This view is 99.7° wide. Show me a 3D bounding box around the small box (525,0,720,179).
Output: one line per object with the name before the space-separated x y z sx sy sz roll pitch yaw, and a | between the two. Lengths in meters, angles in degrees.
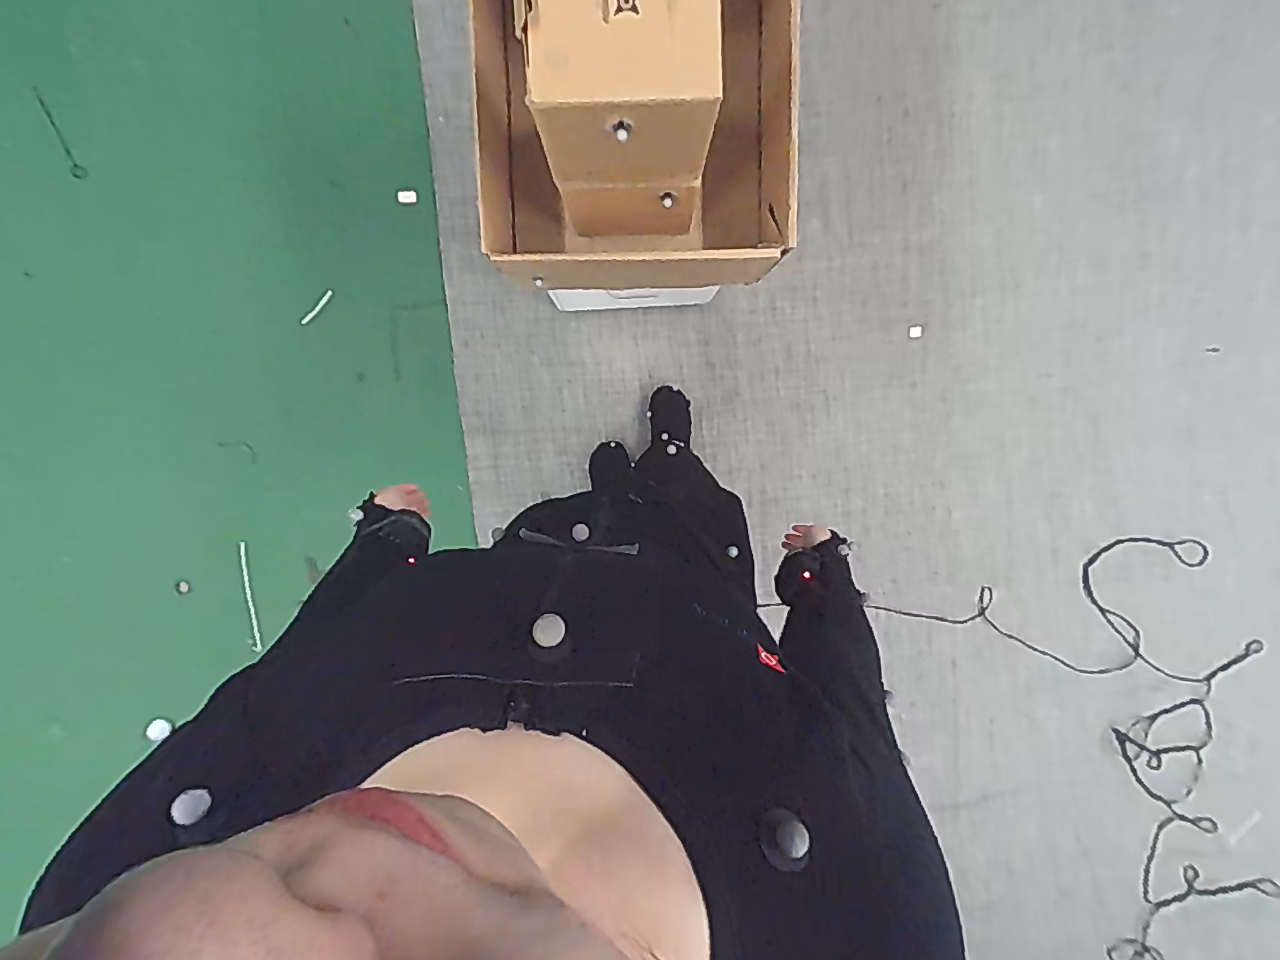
small box | -0.017 -0.432 0.560 0.179 0.176 0.168 -2 97 -1
